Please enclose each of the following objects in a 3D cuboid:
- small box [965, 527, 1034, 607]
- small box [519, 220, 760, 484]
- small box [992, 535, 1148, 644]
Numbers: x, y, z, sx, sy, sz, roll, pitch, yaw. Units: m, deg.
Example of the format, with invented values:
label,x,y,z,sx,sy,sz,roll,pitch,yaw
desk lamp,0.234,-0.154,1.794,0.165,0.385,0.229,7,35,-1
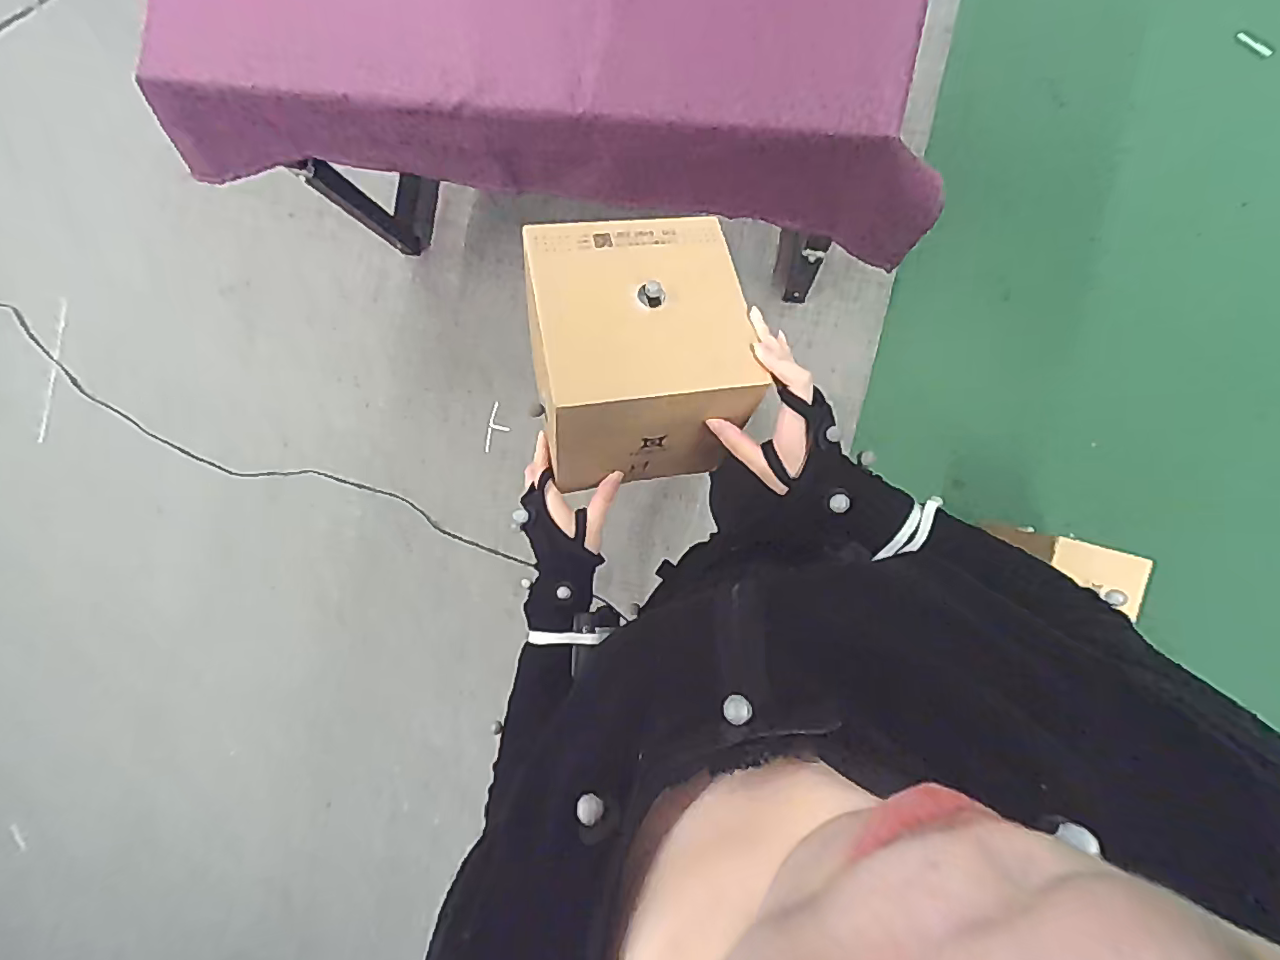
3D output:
label,x,y,z,sx,sy,sz,roll,pitch,yaw
small box,0.911,0.219,1.293,0.168,0.176,0.179,15,90,8
small box,-0.016,-0.113,0.494,0.168,0.179,0.176,-7,70,-12
small box,0.886,0.217,1.132,0.179,0.176,0.168,15,91,8
